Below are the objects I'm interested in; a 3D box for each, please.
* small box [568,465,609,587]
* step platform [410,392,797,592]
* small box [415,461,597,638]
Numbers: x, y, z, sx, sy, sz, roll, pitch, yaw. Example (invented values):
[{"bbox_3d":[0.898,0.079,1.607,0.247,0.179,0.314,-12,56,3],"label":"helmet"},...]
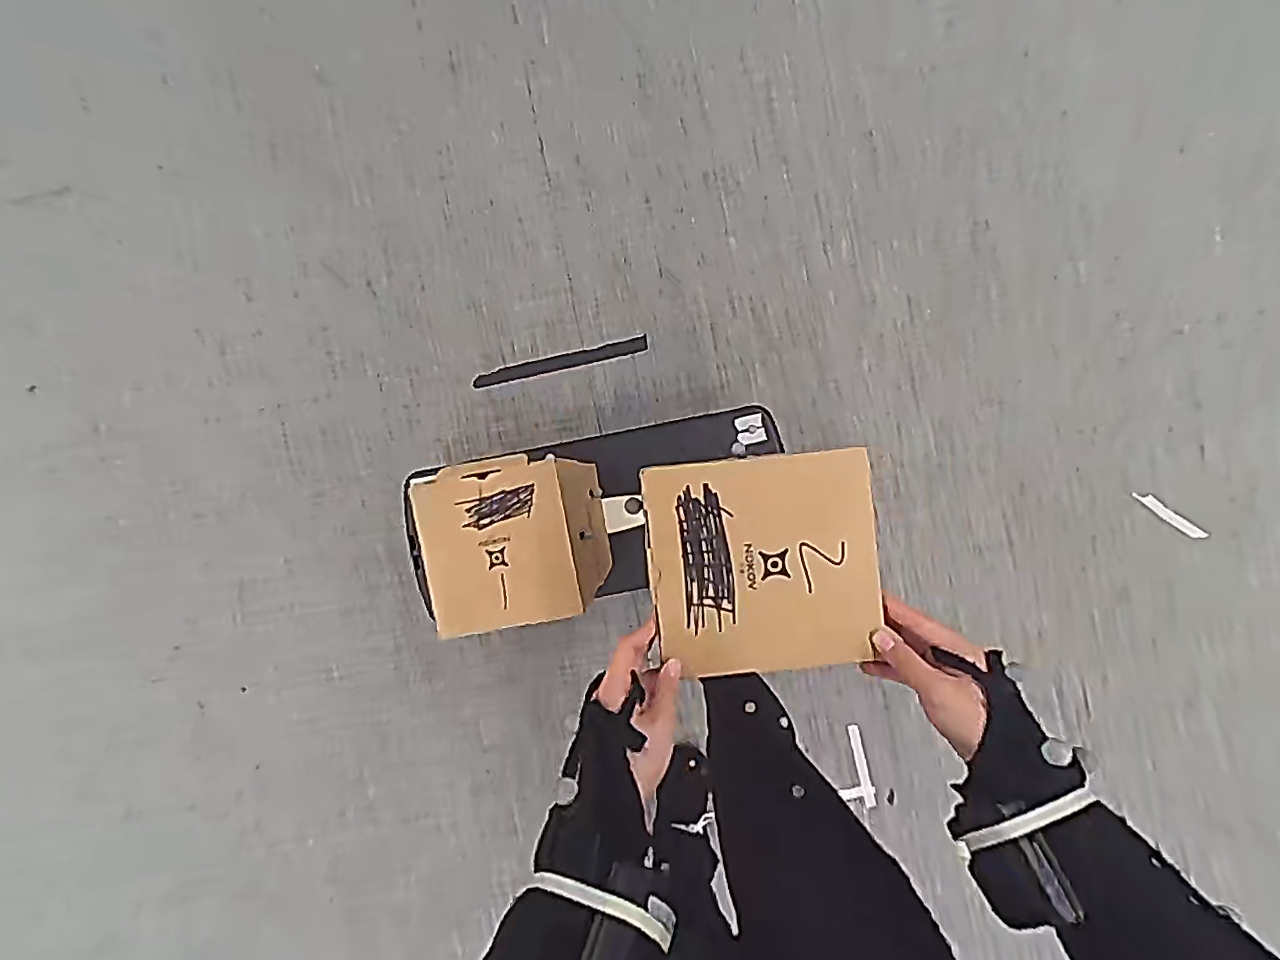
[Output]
[{"bbox_3d":[-0.146,0.075,0.837,0.168,0.176,0.179,-9,91,2],"label":"small box"},{"bbox_3d":[-0.063,0.038,1.007,0.684,0.204,0.286,-11,91,3],"label":"step platform"},{"bbox_3d":[-0.153,0.076,0.673,0.168,0.176,0.179,-10,91,2],"label":"small box"}]
